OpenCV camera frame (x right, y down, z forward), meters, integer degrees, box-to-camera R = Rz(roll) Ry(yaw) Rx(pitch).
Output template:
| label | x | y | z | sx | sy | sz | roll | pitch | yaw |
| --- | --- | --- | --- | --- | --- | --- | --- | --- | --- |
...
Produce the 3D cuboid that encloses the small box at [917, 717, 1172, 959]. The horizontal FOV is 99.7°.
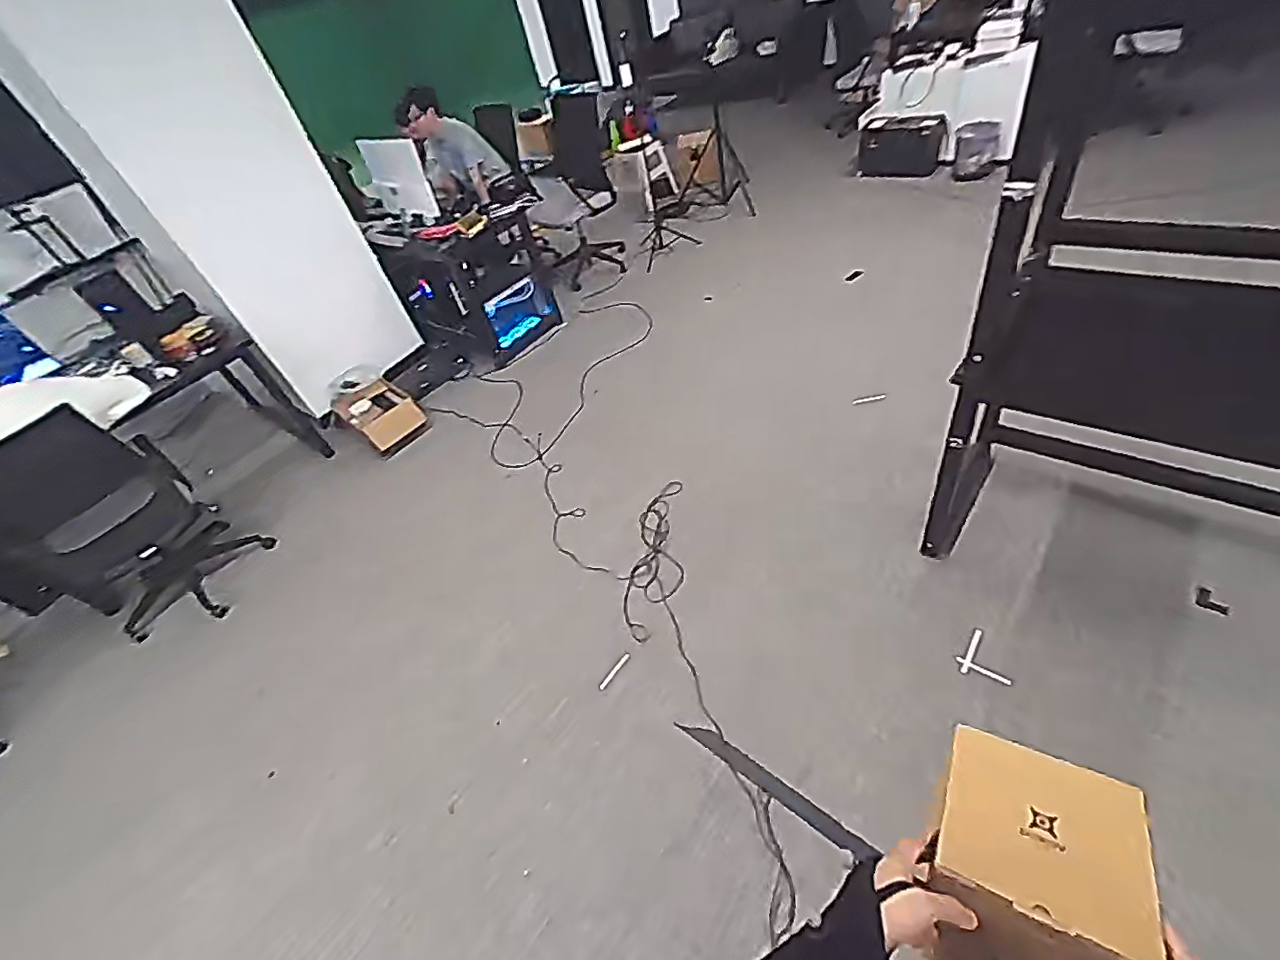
| label | x | y | z | sx | sy | sz | roll | pitch | yaw |
| --- | --- | --- | --- | --- | --- | --- | --- | --- | --- |
| small box | 0.398 | 0.397 | 0.562 | 0.168 | 0.176 | 0.179 | 12 | 34 | 29 |
